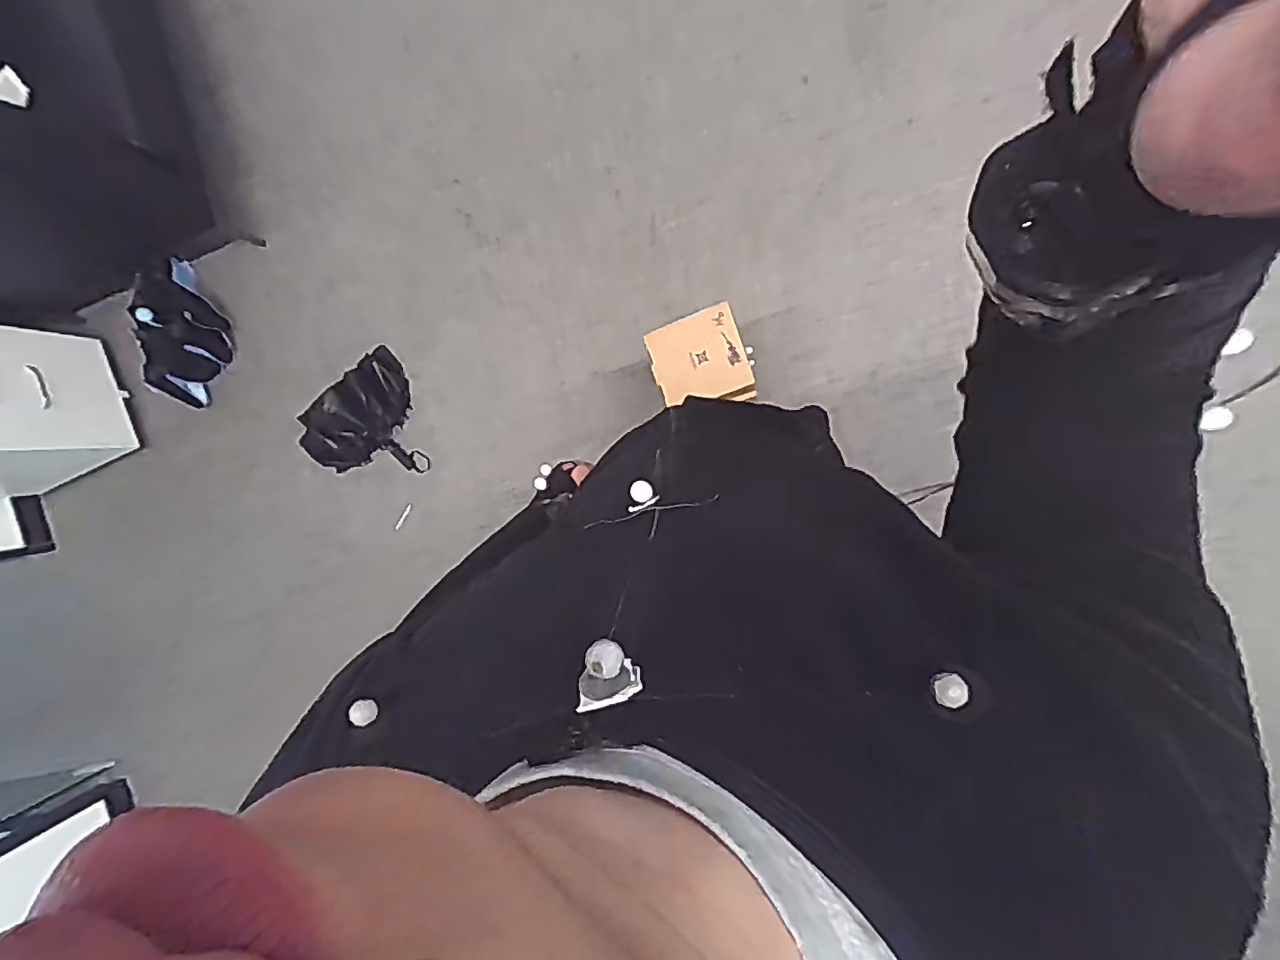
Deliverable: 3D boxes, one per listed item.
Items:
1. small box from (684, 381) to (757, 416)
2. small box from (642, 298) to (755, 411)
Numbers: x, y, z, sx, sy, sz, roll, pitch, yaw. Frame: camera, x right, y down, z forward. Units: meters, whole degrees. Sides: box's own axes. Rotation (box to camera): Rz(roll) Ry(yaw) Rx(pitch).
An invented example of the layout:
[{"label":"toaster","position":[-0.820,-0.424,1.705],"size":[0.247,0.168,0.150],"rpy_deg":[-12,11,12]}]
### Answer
[{"label":"small box","position":[0.169,-0.256,1.270],"size":[0.168,0.176,0.179],"rpy_deg":[-19,91,15]},{"label":"small box","position":[0.126,-0.247,1.112],"size":[0.179,0.176,0.168],"rpy_deg":[-19,90,15]}]
